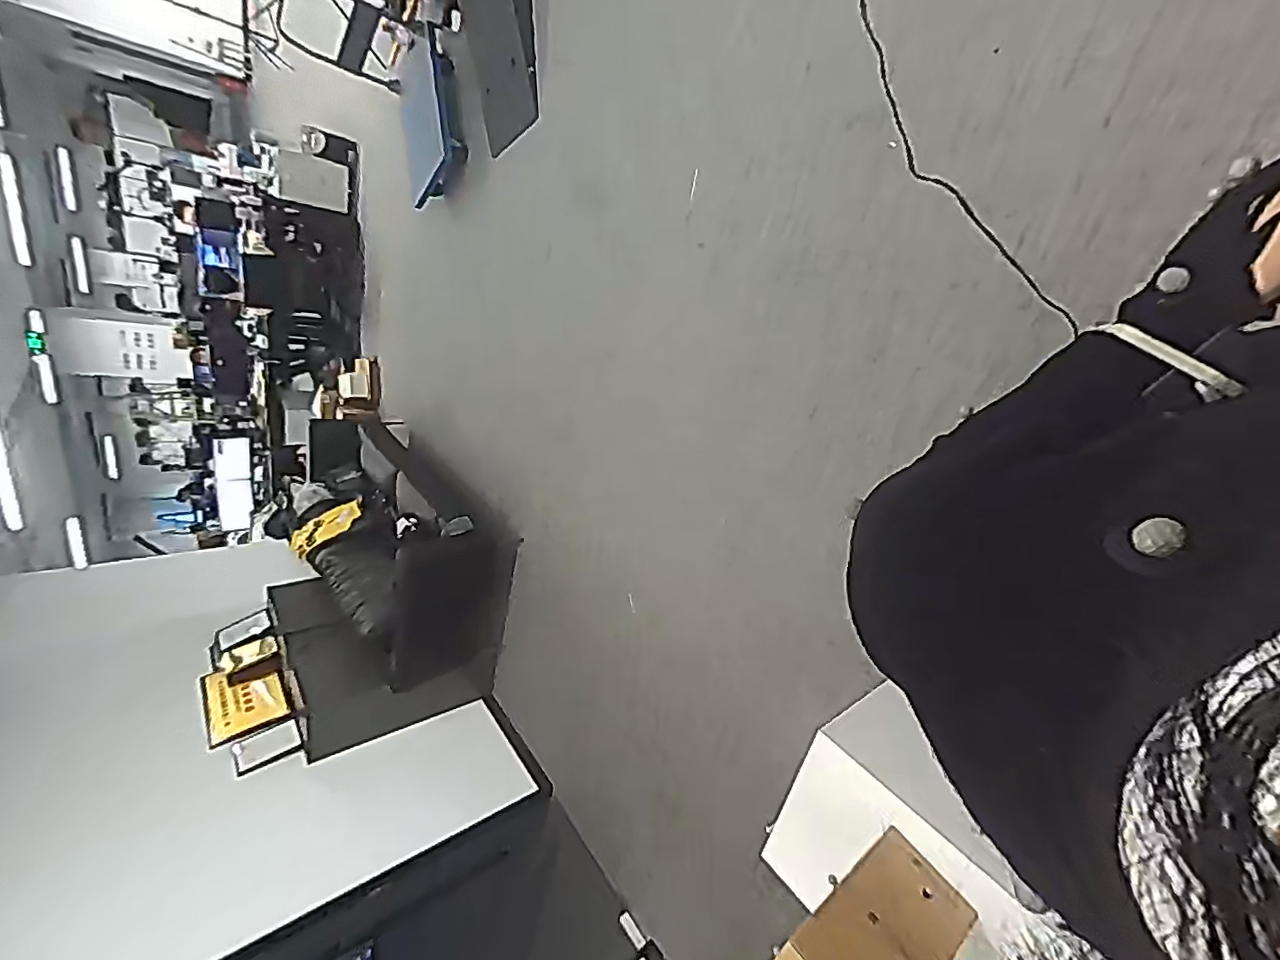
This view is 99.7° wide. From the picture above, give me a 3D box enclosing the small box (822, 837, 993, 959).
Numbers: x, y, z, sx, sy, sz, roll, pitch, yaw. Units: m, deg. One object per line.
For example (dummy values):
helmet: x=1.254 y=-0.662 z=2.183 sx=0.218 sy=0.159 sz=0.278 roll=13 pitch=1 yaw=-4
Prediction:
small box: x=0.449 y=0.756 z=0.908 sx=0.168 sy=0.176 sz=0.179 roll=41 pitch=124 yaw=39
